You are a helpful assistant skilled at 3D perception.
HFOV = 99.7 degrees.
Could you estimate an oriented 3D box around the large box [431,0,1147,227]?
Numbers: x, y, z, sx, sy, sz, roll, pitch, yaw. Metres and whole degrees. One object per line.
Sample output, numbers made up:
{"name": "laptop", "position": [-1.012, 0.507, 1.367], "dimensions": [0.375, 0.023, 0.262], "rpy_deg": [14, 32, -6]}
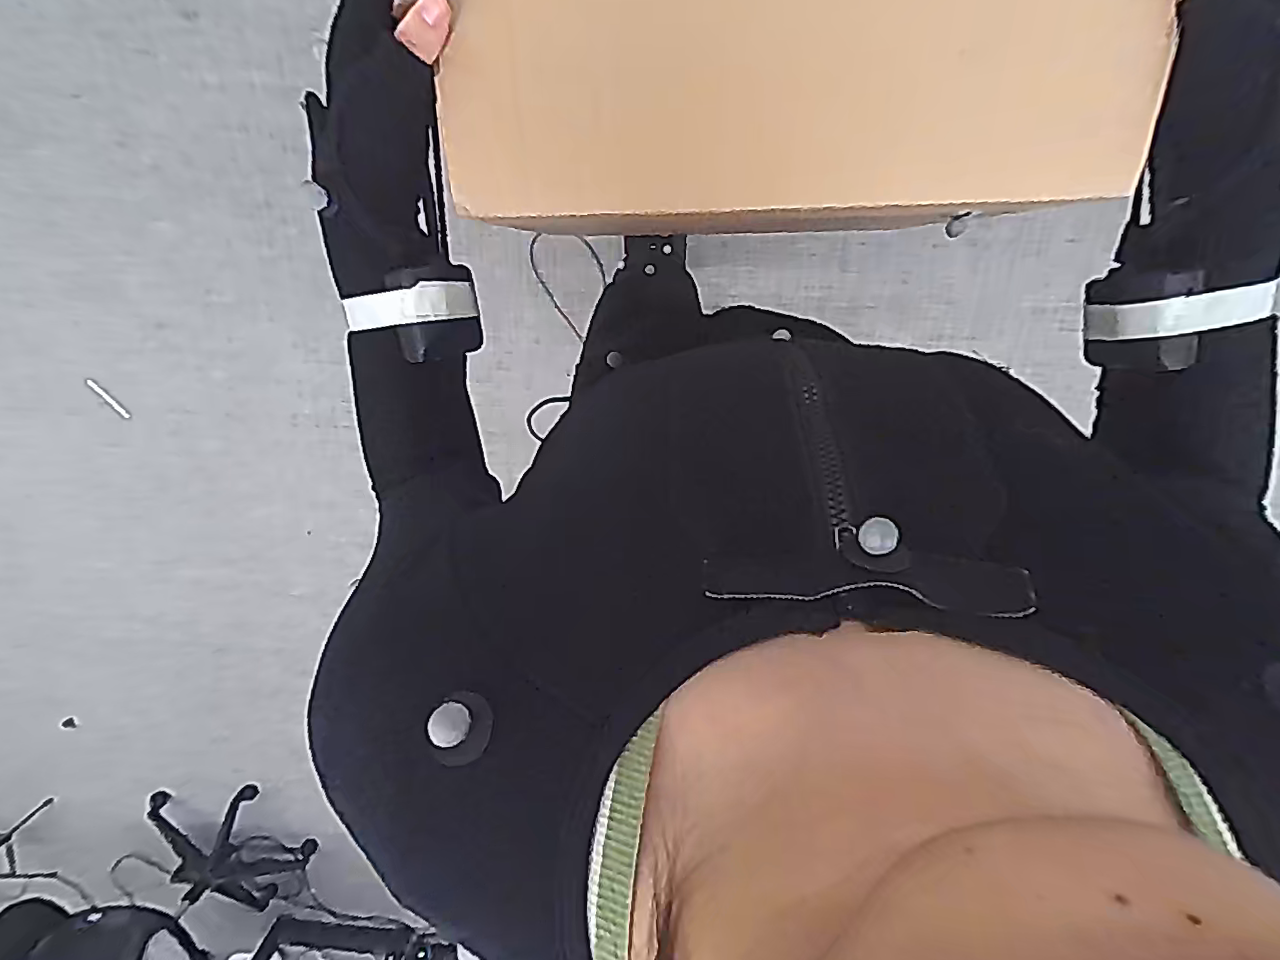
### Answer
{"name": "large box", "position": [0.085, -0.374, 0.416], "dimensions": [0.408, 0.320, 0.320], "rpy_deg": [-1, 112, 2]}
